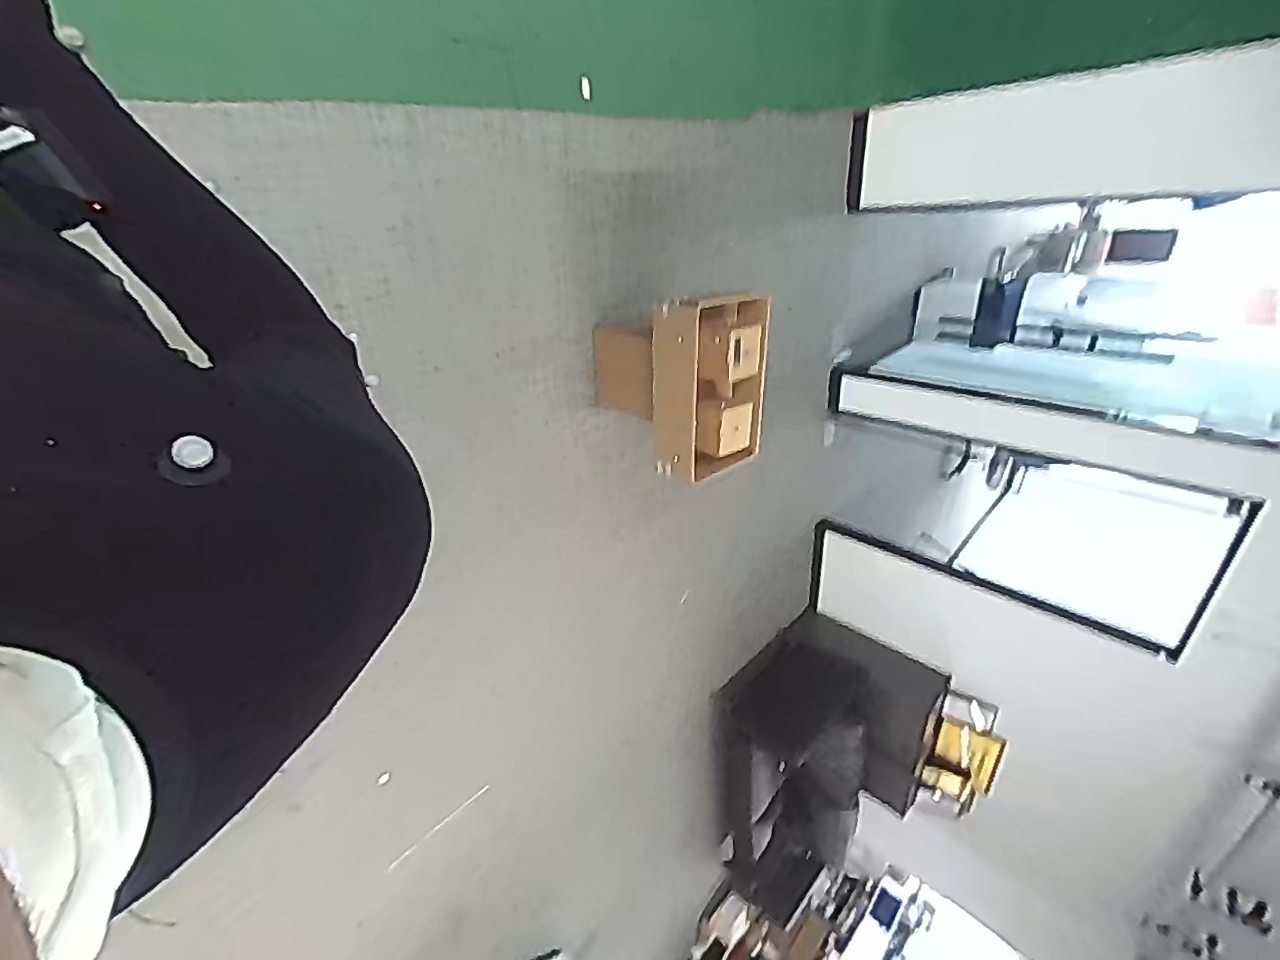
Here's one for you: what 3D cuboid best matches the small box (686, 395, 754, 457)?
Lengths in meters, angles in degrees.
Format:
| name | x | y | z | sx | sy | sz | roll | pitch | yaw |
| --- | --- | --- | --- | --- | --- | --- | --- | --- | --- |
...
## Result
| name | x | y | z | sx | sy | sz | roll | pitch | yaw |
| --- | --- | --- | --- | --- | --- | --- | --- | --- | --- |
| small box | 0.286 | -0.201 | 1.947 | 0.179 | 0.176 | 0.168 | -21 | 121 | -39 |
